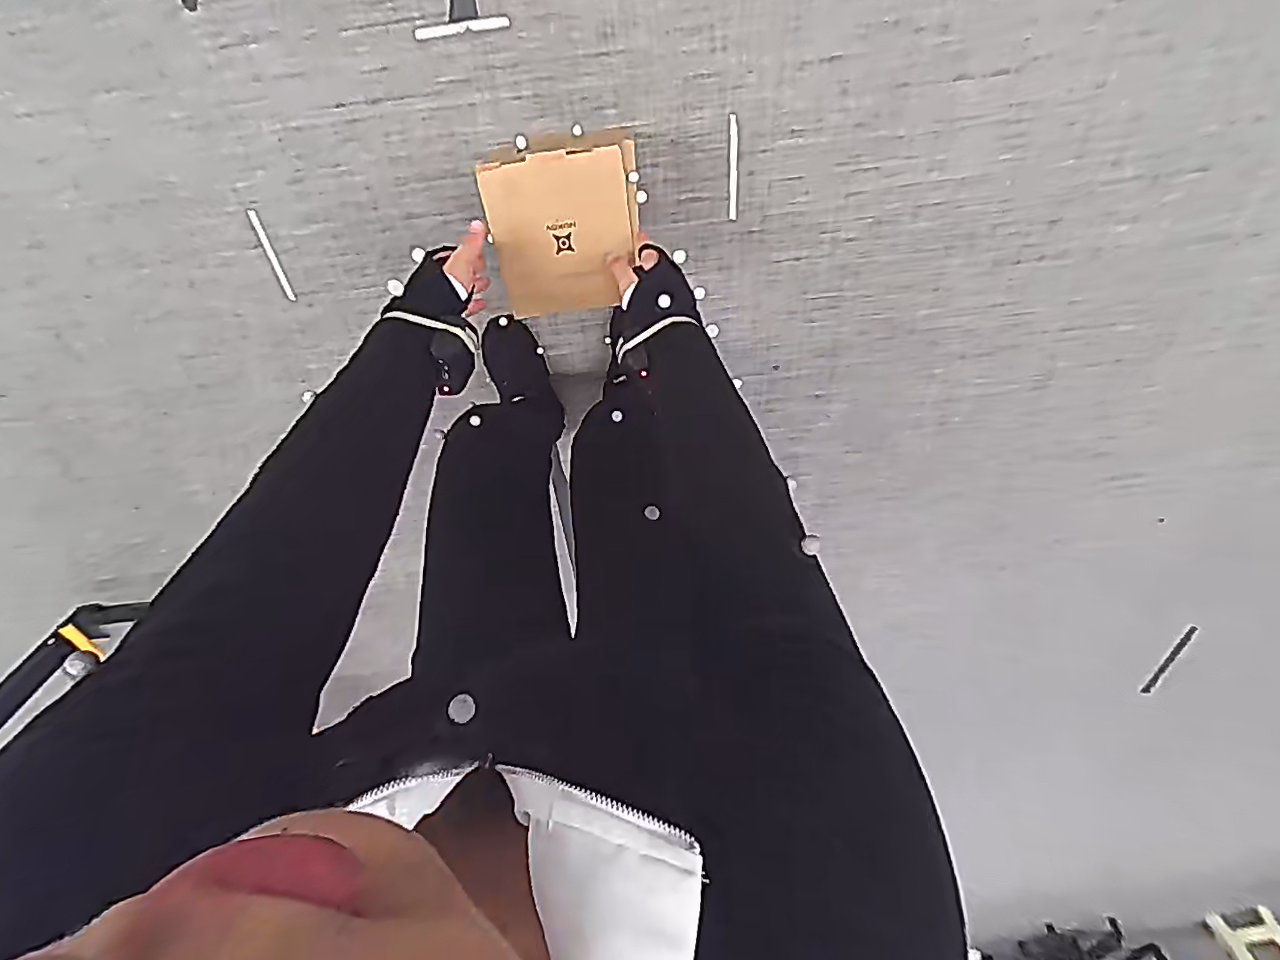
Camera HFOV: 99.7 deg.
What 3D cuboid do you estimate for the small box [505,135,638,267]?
[{"bbox_3d":[-0.096,-0.425,0.833,0.179,0.176,0.168,-4,127,-1],"label":"small box"}]

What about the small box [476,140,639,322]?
[{"bbox_3d":[-0.095,-0.328,0.702,0.168,0.176,0.179,-7,128,4],"label":"small box"}]
